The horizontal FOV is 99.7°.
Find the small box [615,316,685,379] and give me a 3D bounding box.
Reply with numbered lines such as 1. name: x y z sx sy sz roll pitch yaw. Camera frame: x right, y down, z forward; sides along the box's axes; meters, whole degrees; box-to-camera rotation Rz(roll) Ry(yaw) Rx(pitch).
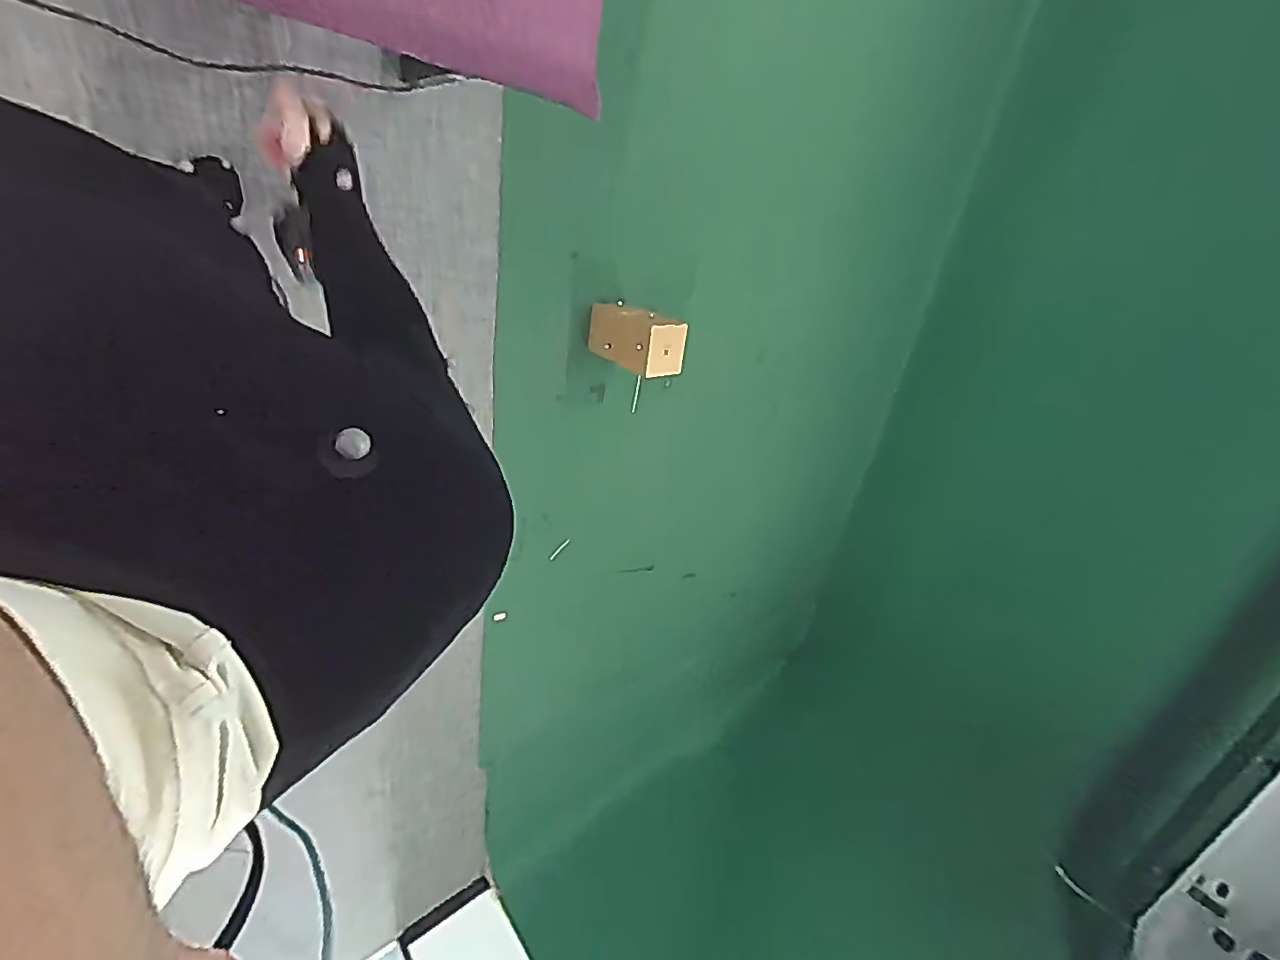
1. small box: 0.030 -0.462 1.869 0.168 0.176 0.179 -15 123 -38

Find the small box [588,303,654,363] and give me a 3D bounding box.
1. small box: -0.074 -0.534 1.970 0.168 0.176 0.179 -12 122 -40
